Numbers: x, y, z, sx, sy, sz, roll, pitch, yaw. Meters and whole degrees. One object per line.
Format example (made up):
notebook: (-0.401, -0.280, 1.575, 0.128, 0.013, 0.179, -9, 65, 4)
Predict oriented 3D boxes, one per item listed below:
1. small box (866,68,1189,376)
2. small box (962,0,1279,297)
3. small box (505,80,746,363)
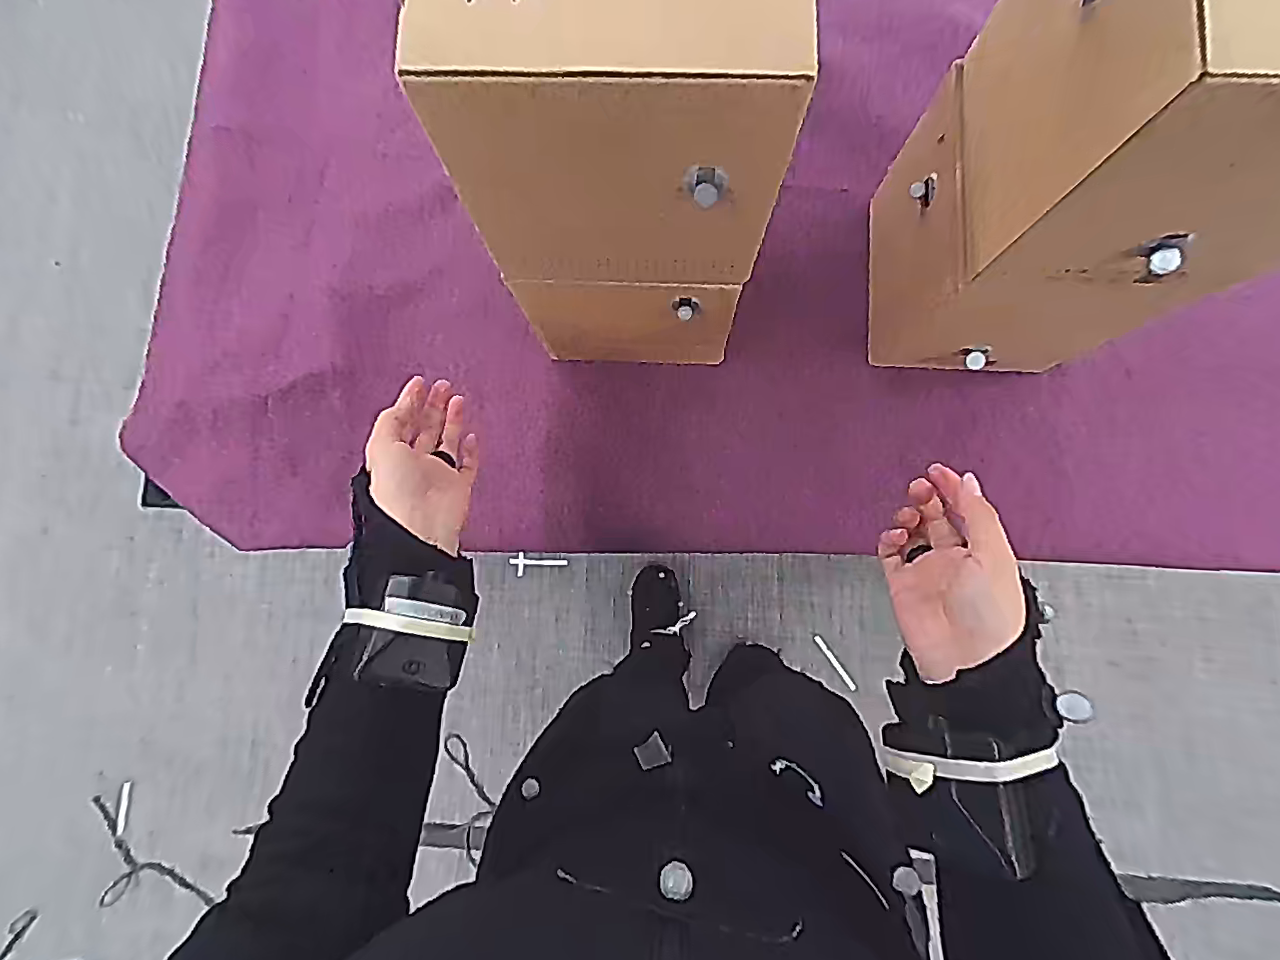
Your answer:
small box: (0.307, -0.205, 0.467, 0.168, 0.176, 0.179, 4, 83, 3)
small box: (0.306, -0.226, 0.303, 0.168, 0.176, 0.179, 3, 83, 4)
small box: (-0.006, -0.211, 0.482, 0.179, 0.176, 0.168, 2, 82, 2)
